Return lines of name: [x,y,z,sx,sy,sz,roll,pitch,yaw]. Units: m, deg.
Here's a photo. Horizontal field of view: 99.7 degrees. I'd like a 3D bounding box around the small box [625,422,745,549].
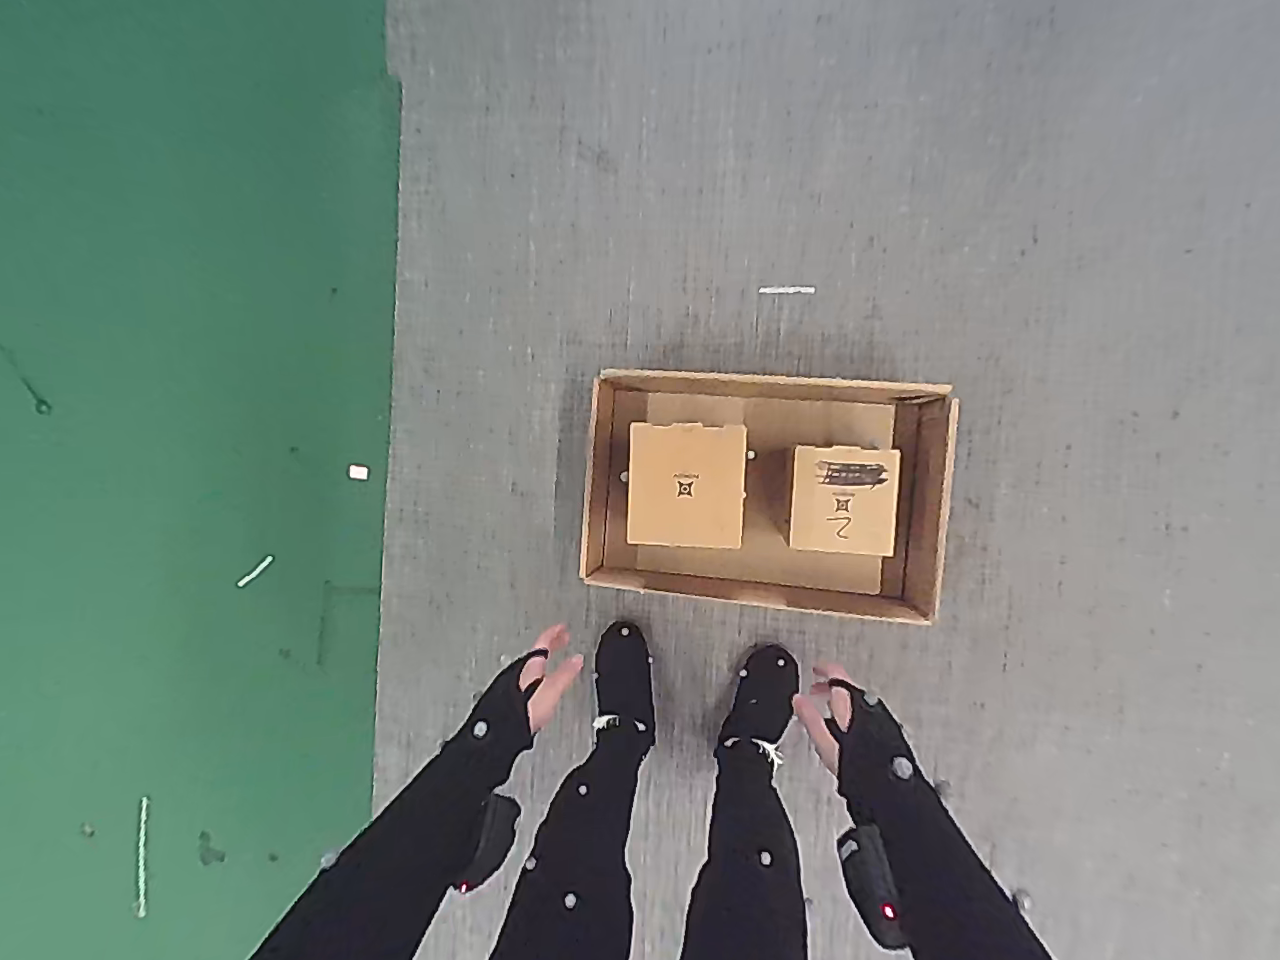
small box: [0.074,0.006,0.845,0.168,0.176,0.179,2,91,8]
